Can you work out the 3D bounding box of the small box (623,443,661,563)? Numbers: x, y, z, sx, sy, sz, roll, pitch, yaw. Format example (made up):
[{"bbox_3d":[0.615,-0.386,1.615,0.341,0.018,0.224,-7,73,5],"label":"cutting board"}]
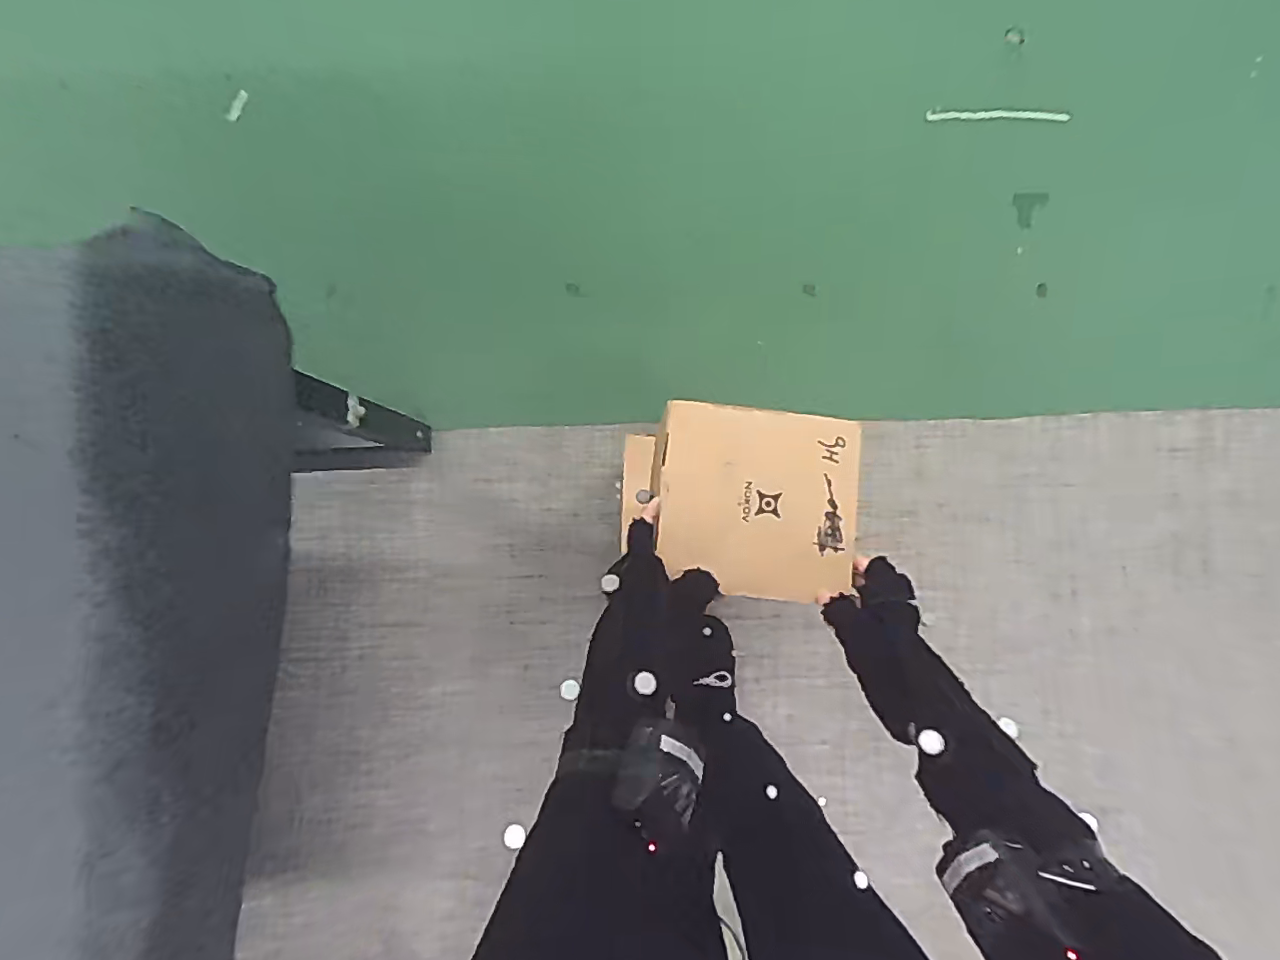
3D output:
[{"bbox_3d":[0.060,0.042,0.866,0.168,0.176,0.179,2,86,0],"label":"small box"}]

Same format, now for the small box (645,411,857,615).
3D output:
[{"bbox_3d":[0.100,0.038,0.557,0.179,0.176,0.168,7,83,-1],"label":"small box"}]
